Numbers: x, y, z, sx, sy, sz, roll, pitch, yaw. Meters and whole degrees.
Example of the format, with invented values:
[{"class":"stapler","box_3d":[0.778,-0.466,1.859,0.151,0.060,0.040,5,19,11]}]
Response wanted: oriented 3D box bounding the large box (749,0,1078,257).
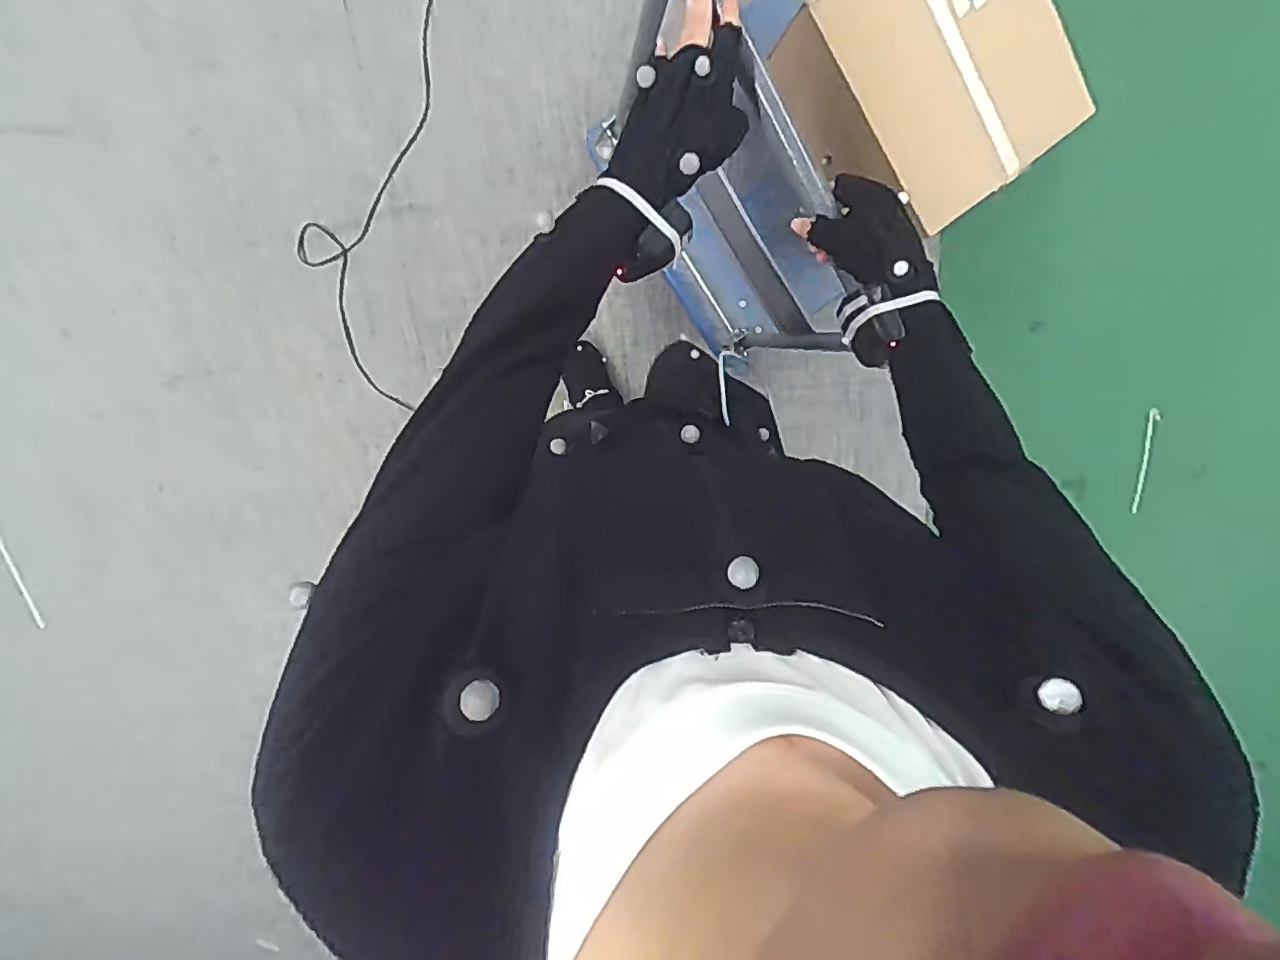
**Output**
[{"class":"large box","box_3d":[0.463,-0.686,0.987,0.320,0.320,0.408,-37,105,6]}]
